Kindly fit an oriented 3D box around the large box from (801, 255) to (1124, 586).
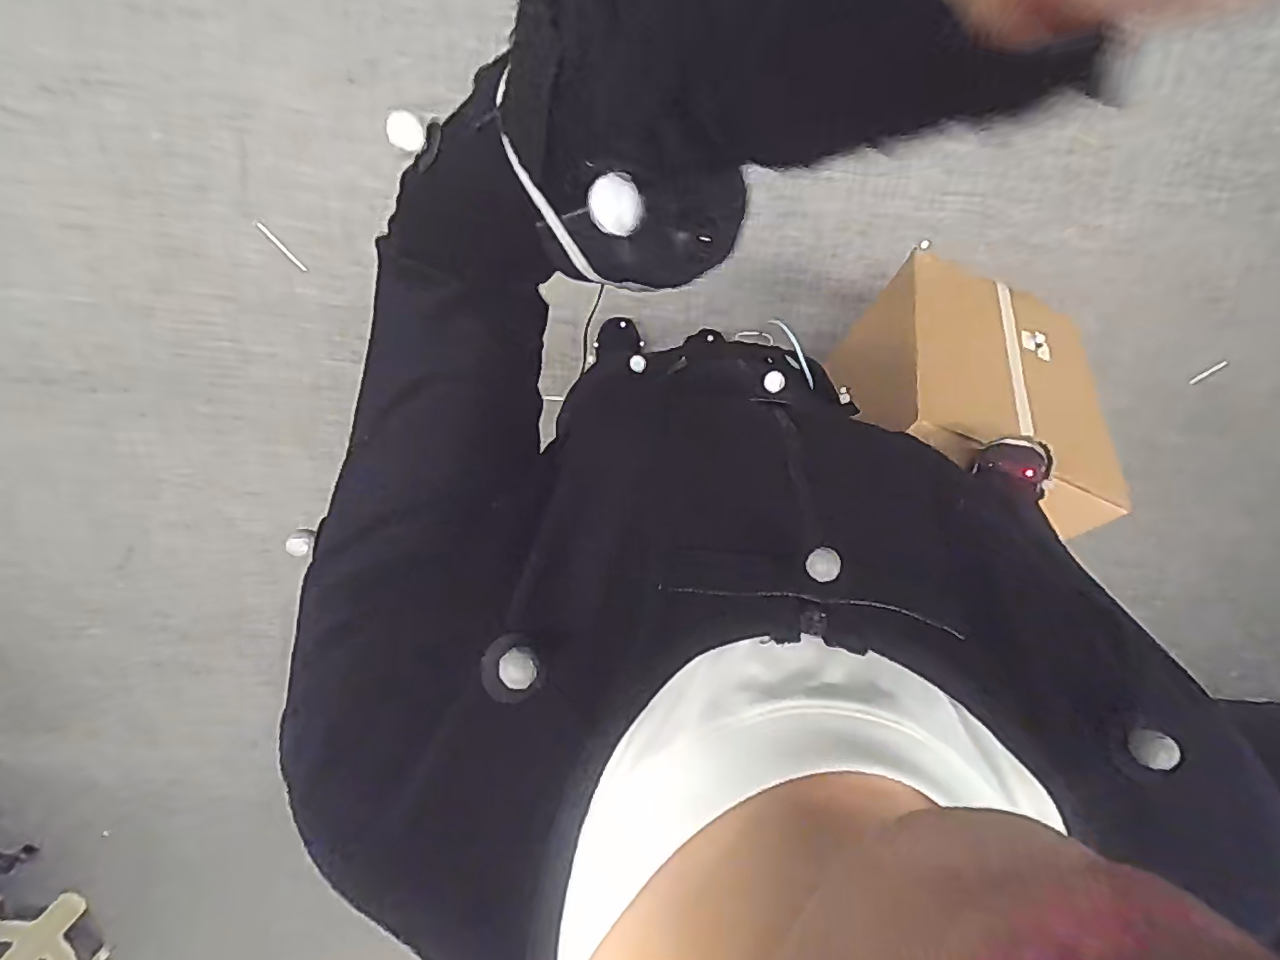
[{"bbox_3d":[0.500,-0.092,0.922,0.320,0.408,0.320,23,145,-5],"label":"large box"}]
